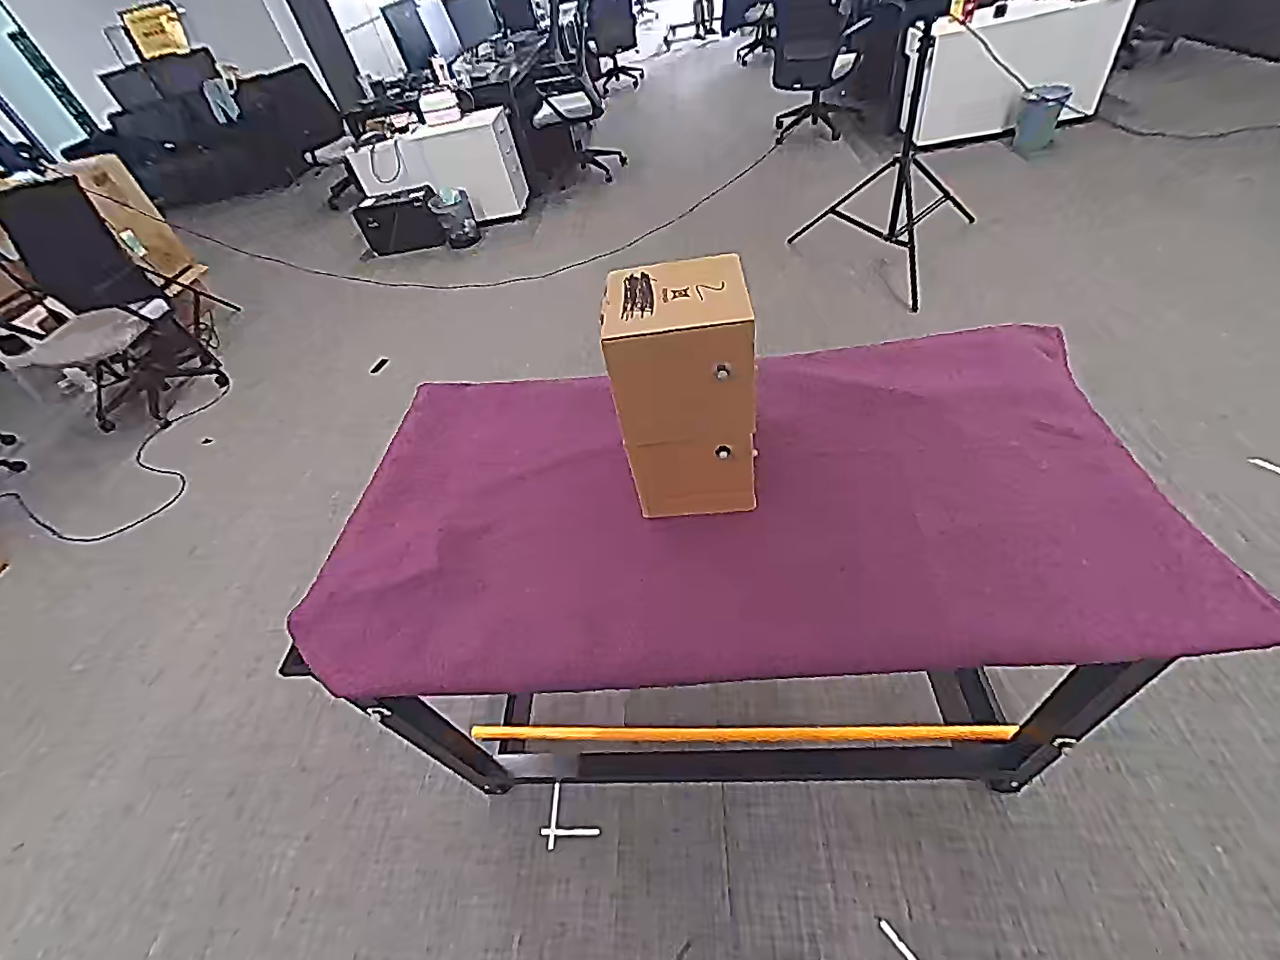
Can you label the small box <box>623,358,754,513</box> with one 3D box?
[{"bbox_3d":[0.078,-0.063,0.833,0.179,0.176,0.168,-5,46,8],"label":"small box"}]
